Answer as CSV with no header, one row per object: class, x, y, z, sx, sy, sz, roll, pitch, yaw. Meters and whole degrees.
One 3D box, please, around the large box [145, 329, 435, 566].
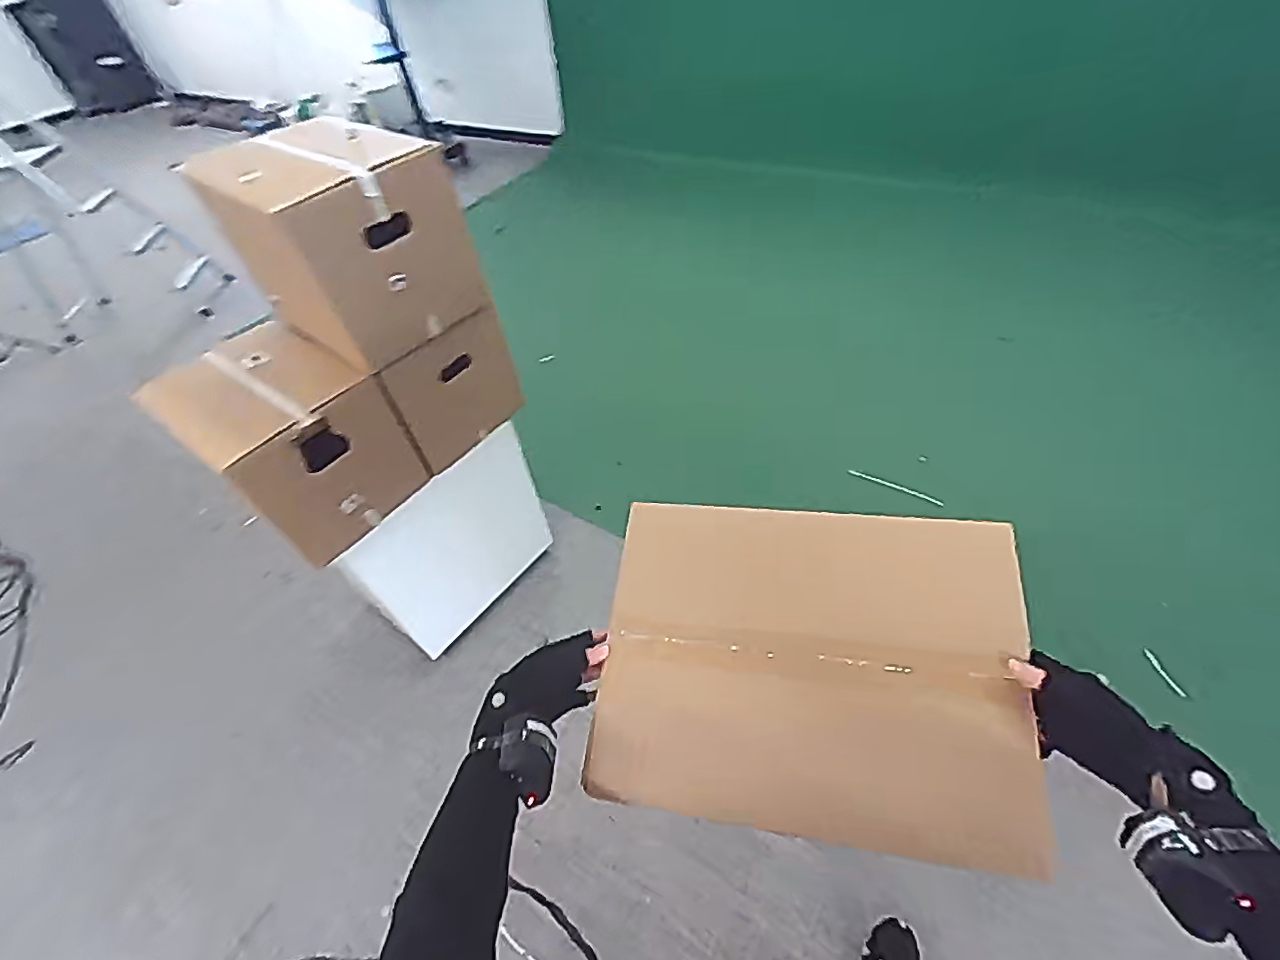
large box,-0.741,-0.079,1.189,0.408,0.320,0.320,26,56,28
